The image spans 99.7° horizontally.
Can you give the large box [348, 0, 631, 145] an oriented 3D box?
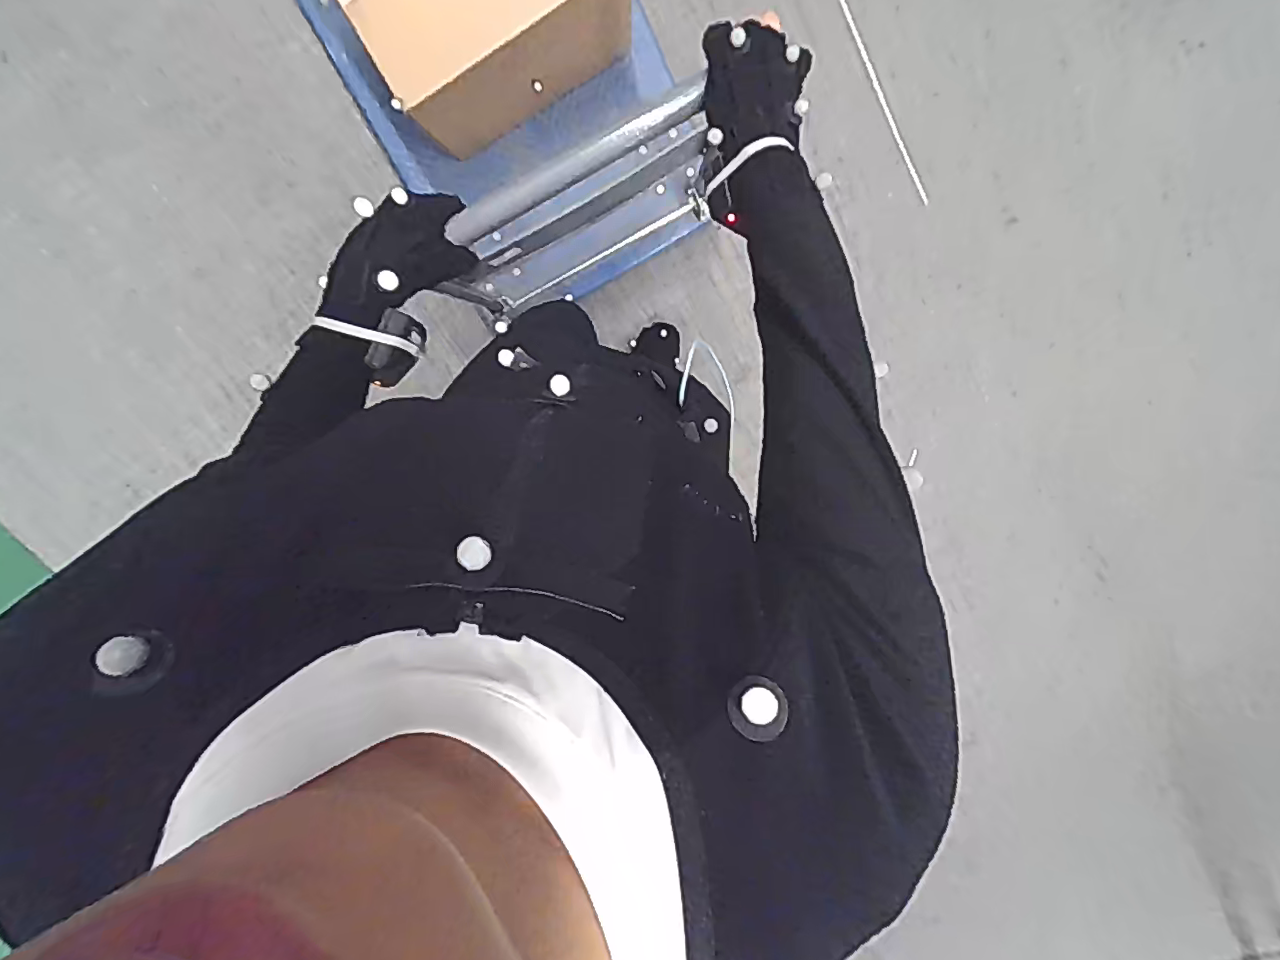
[{"bbox_3d":[-0.258,-0.843,0.887,0.408,0.320,0.320,-29,107,8],"label":"large box"}]
